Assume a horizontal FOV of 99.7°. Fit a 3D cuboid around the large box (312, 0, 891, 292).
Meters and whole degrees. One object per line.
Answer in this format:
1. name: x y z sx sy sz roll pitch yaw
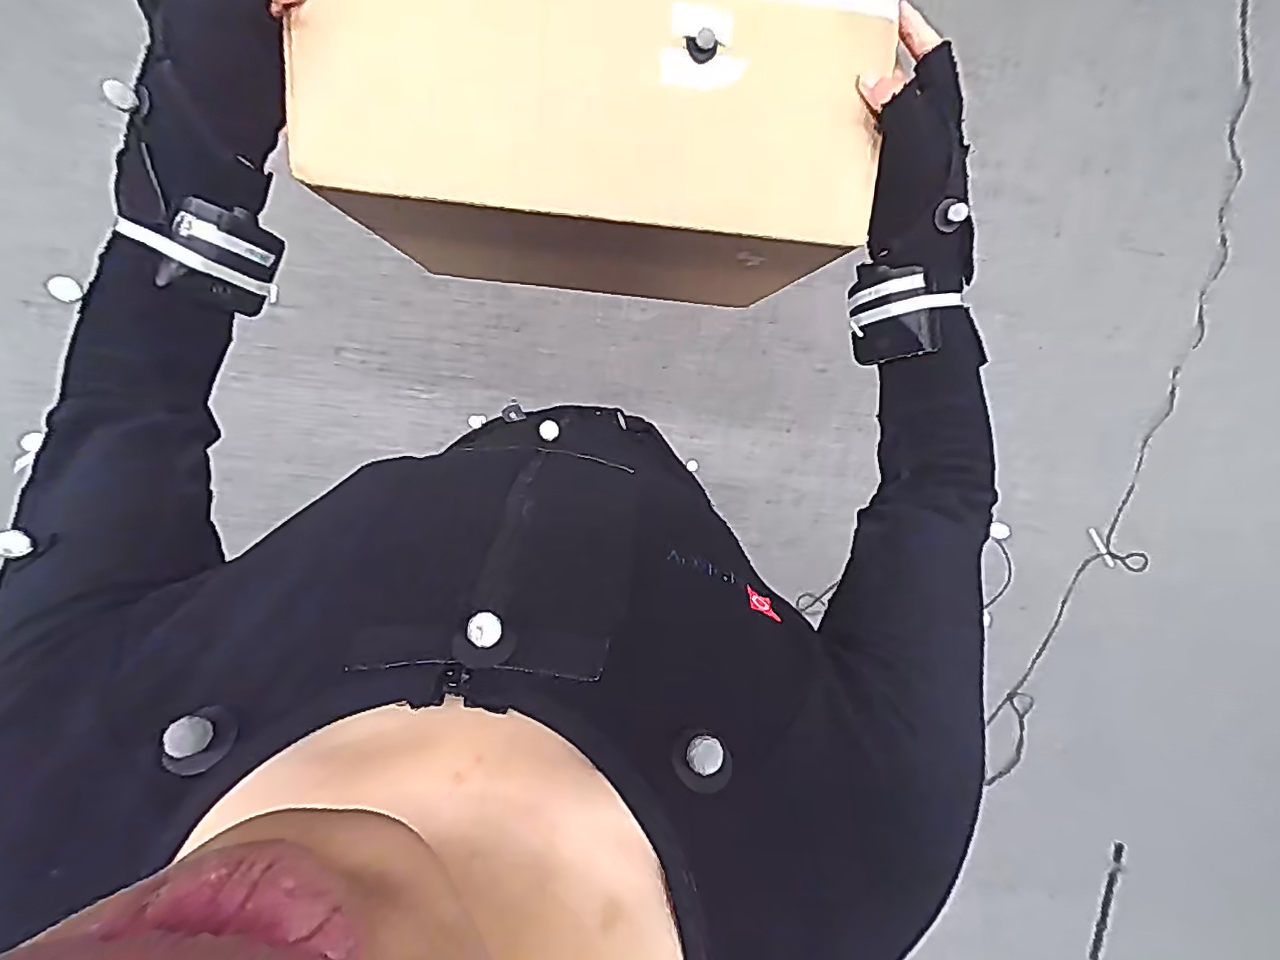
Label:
1. large box: -0.031 -0.376 0.514 0.408 0.320 0.320 3 100 -6
